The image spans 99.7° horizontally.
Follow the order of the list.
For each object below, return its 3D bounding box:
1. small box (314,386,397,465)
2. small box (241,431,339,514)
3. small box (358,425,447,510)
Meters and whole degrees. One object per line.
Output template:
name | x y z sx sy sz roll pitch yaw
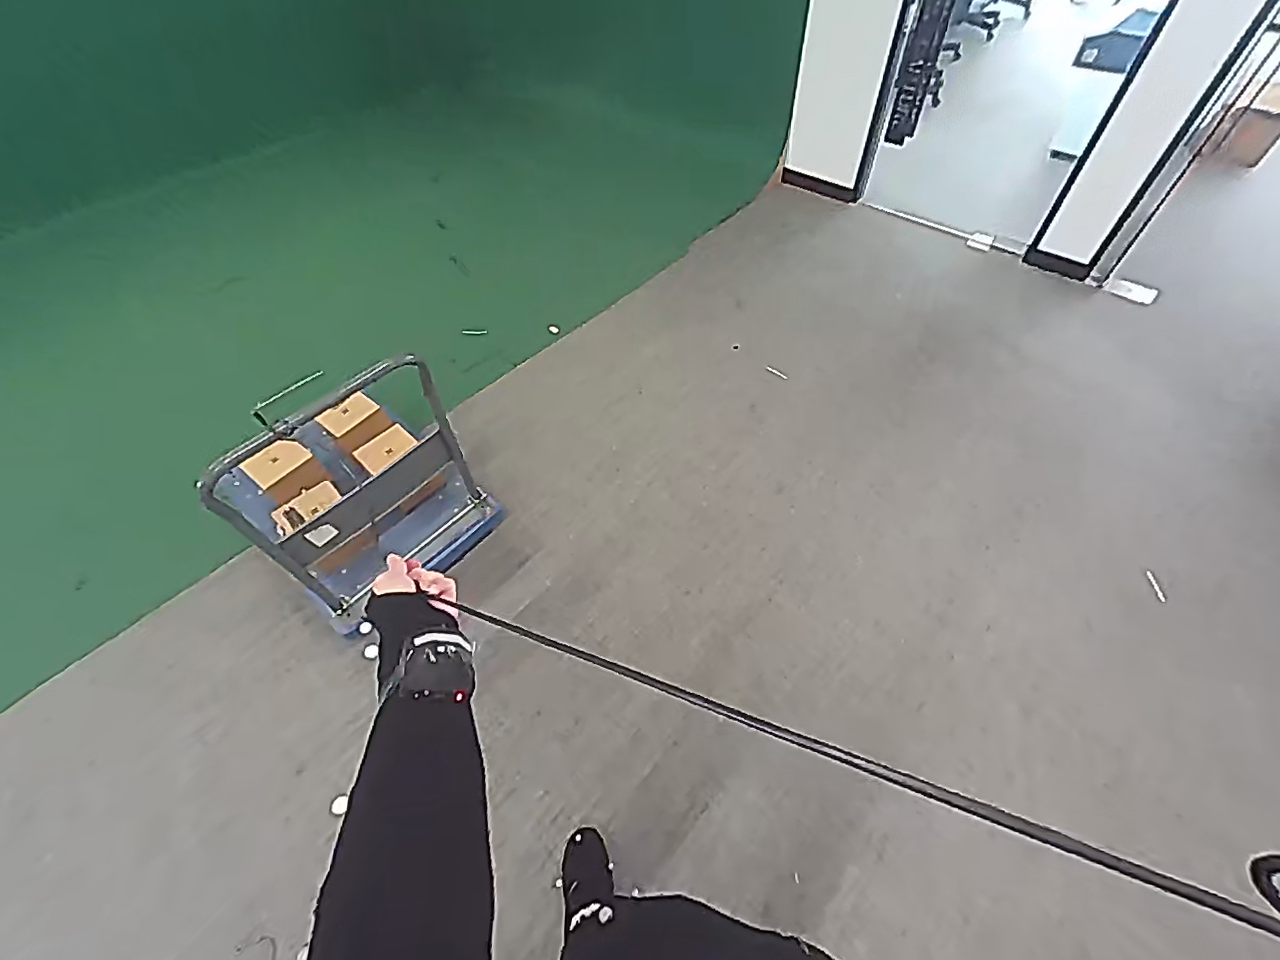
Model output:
small box | -0.950 -0.180 1.836 0.179 0.176 0.168 33 62 22
small box | -1.106 -0.016 1.725 0.179 0.176 0.168 32 61 23
small box | -0.751 -0.037 1.722 0.179 0.176 0.168 37 63 25
